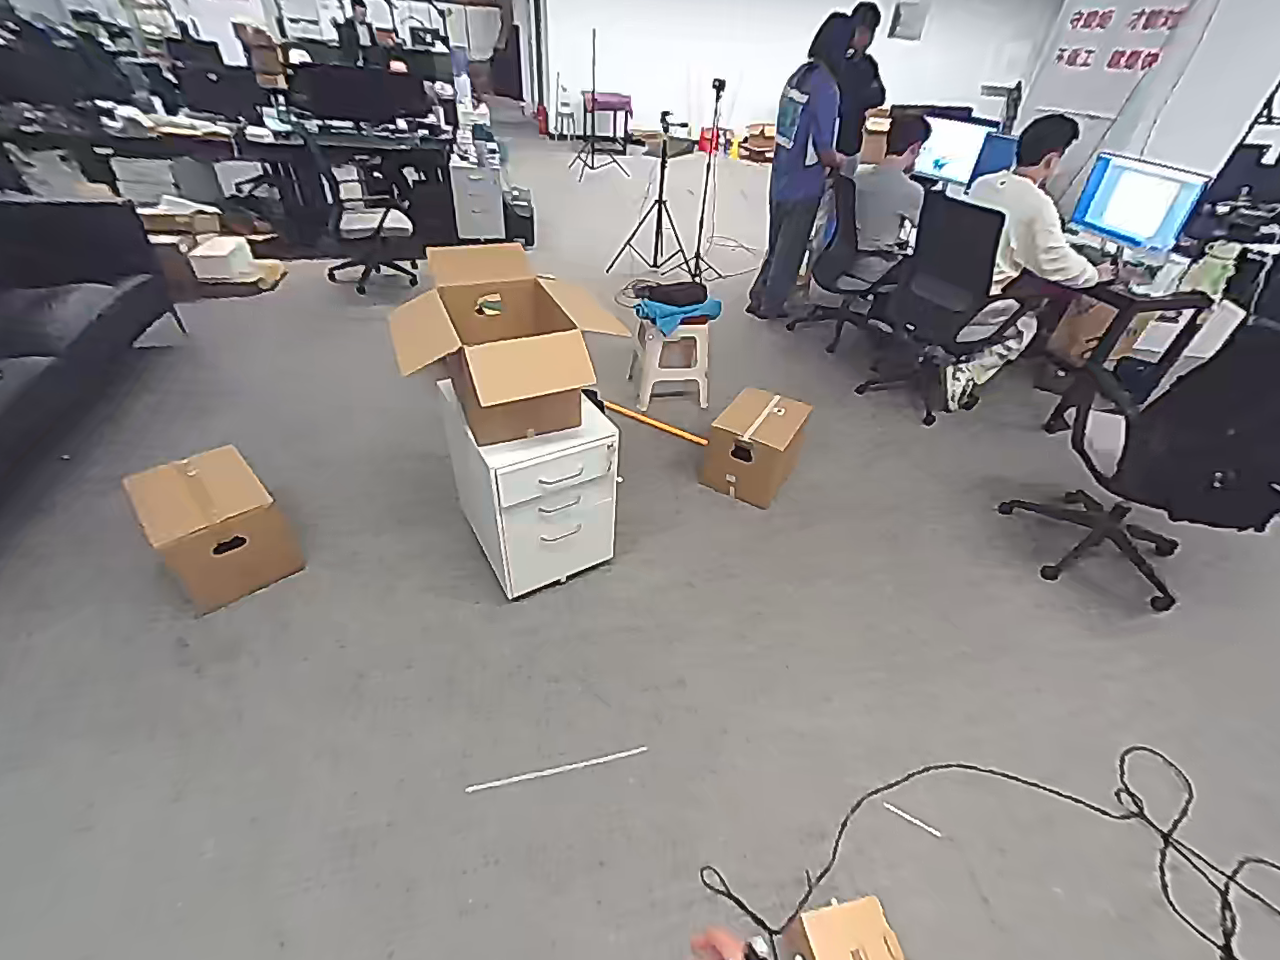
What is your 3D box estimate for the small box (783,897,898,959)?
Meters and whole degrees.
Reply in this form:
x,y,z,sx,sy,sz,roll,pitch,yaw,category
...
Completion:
x,y,z,sx,sy,sz,roll,pitch,yaw,category
0.403,0.979,1.088,0.179,0.176,0.168,-4,40,-12,small box
